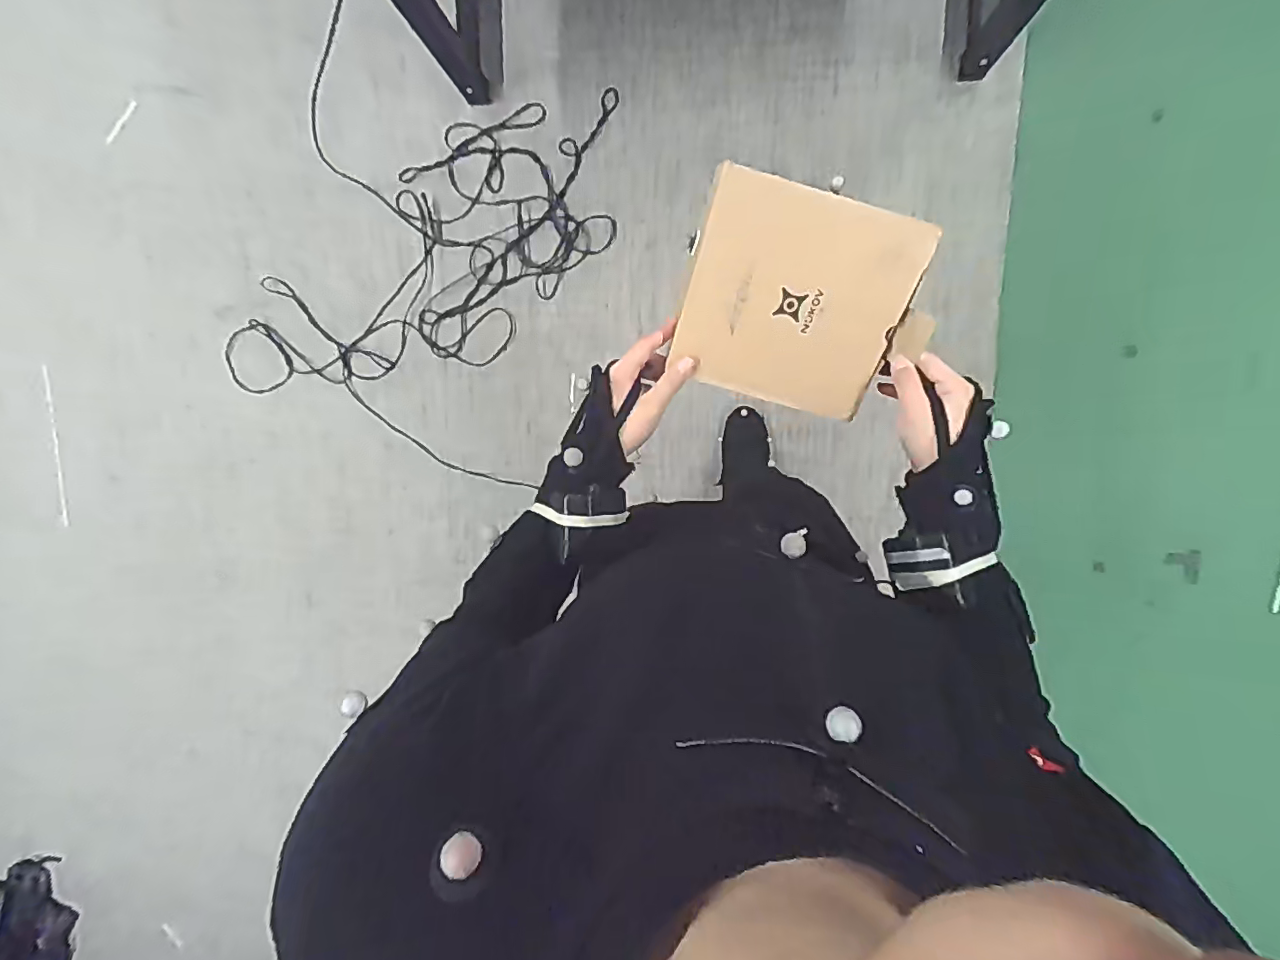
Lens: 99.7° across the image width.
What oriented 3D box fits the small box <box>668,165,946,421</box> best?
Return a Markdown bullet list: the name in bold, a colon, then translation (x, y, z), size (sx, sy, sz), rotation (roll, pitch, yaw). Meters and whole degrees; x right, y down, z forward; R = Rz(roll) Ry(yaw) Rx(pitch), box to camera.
- **small box**: translation (0.132, -0.177, 0.504), size (0.179, 0.176, 0.168), rotation (14, 117, -2)
